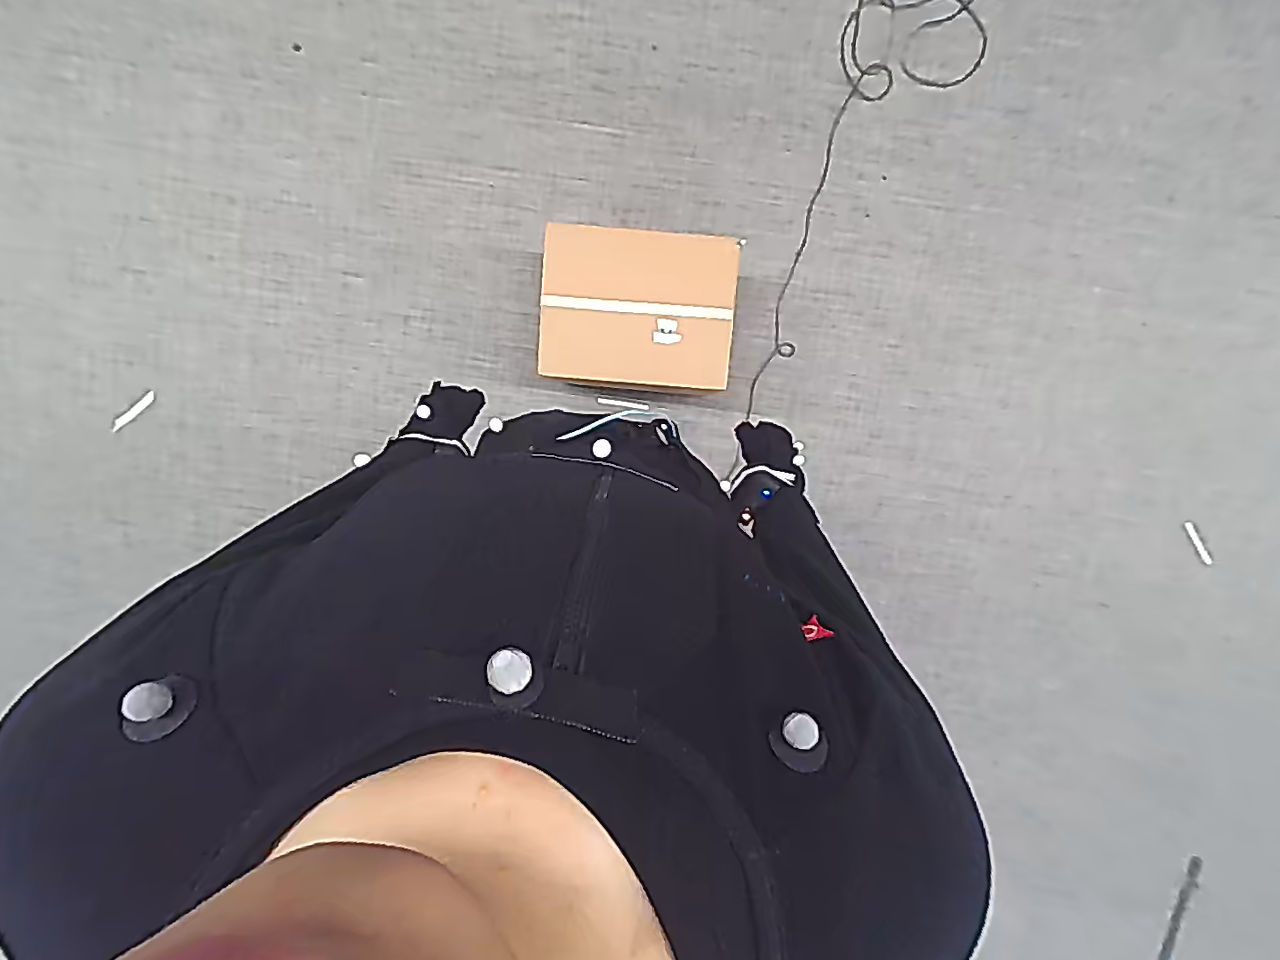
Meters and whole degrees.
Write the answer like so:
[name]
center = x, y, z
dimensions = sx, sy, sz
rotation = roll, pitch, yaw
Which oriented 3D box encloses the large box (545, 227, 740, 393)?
[large box]
center = 0.000, -0.379, 1.288
dimensions = 0.408, 0.320, 0.320
rotation = 4, 97, -1
